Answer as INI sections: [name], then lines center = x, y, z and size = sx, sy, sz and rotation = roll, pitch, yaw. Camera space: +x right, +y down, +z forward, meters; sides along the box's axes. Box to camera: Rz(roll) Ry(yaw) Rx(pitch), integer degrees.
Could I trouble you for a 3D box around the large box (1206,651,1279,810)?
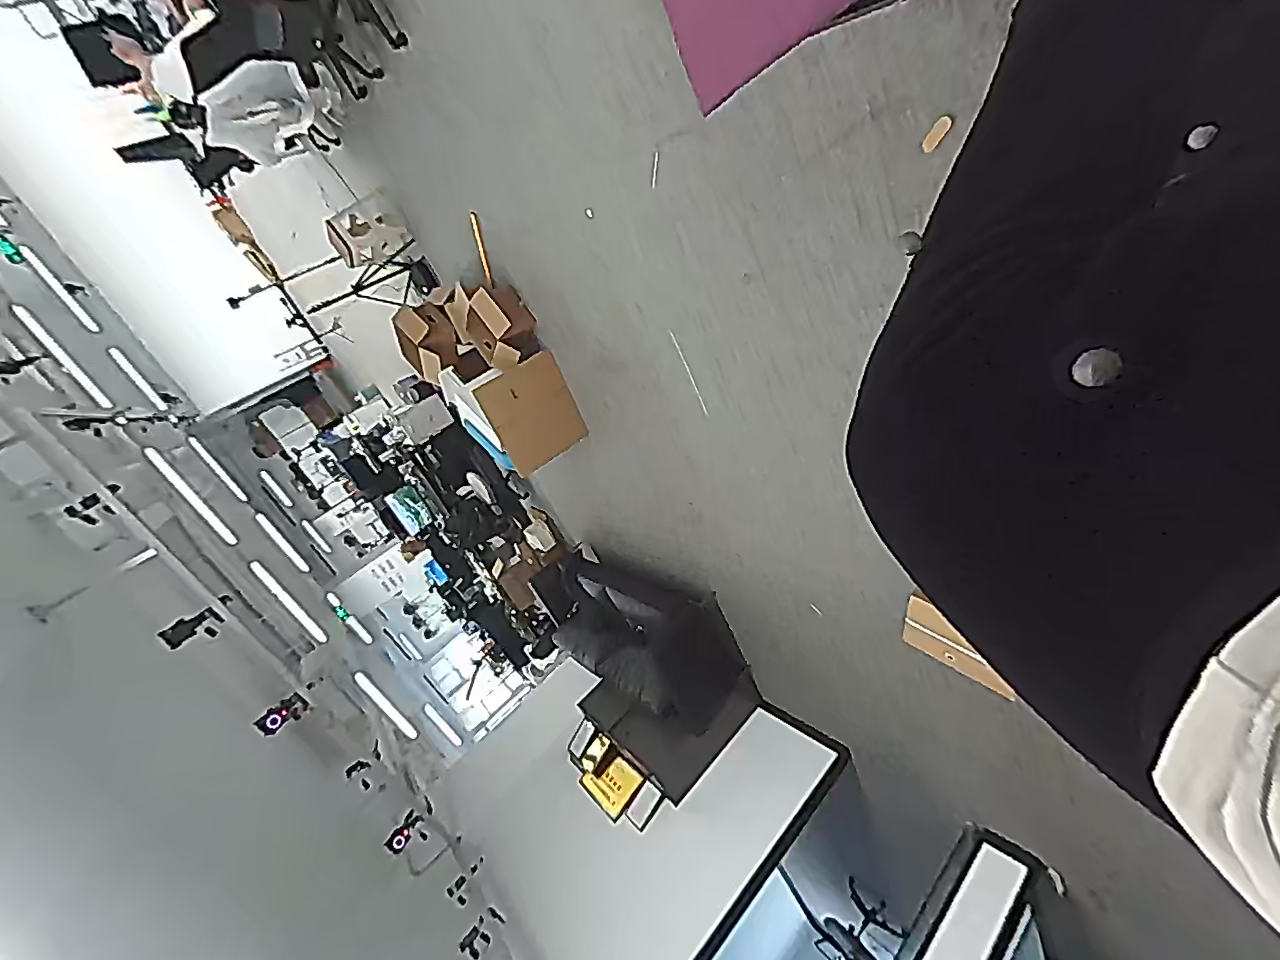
[large box]
center = 1.785, 0.638, 1.338
size = 0.320, 0.320, 0.408
rotation = 48, 154, 5
